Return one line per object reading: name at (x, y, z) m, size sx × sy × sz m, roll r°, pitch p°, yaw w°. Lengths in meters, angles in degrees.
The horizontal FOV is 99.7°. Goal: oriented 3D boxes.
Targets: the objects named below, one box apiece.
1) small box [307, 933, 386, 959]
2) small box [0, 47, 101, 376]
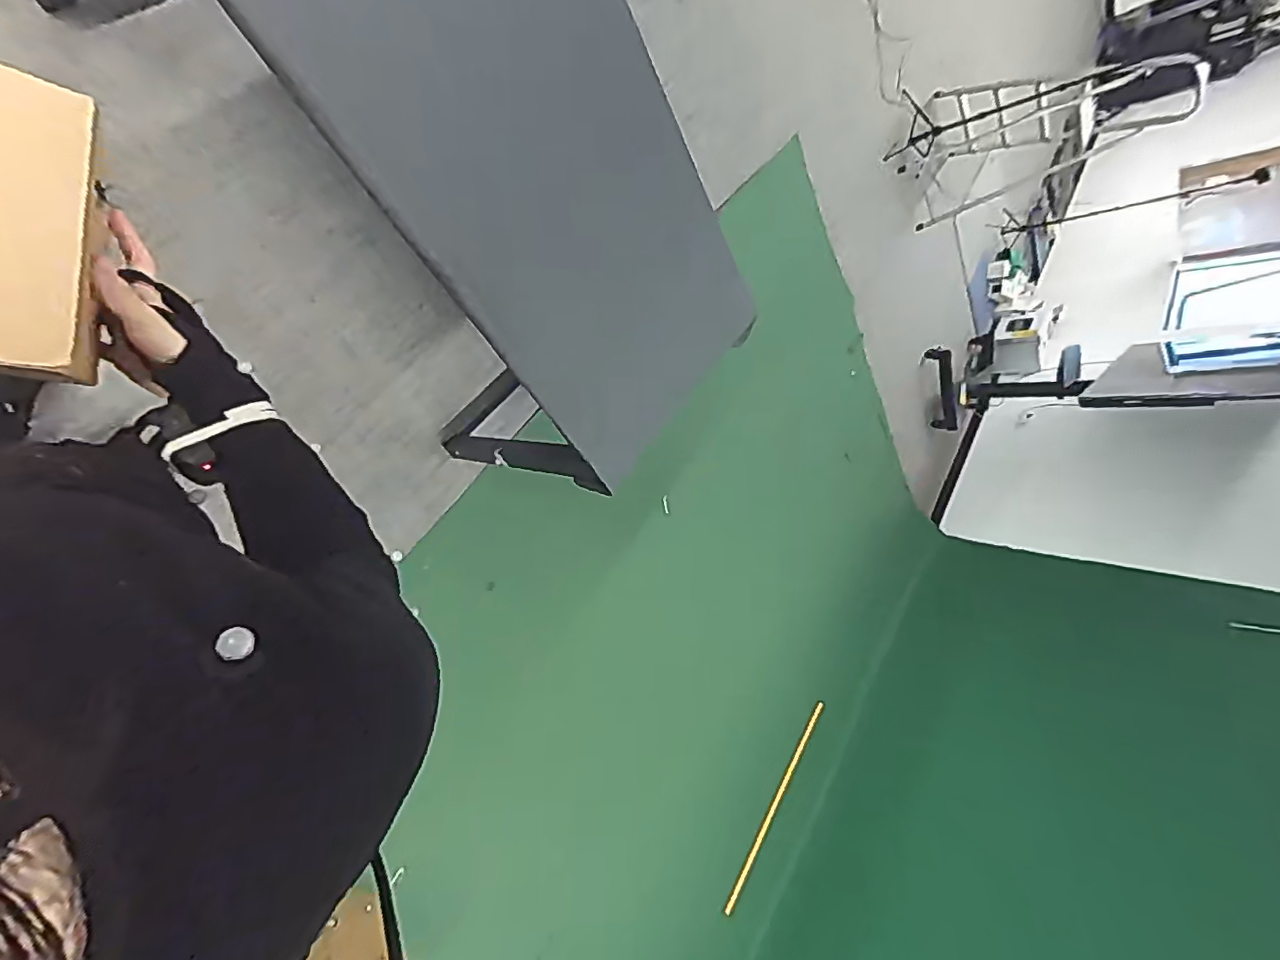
small box at (-0.711, 1.228, 1.285) m, size 0.168 × 0.176 × 0.179 m, roll -54°, pitch 130°, yaw -25°
small box at (-0.460, -0.171, 0.336) m, size 0.168 × 0.176 × 0.179 m, roll 6°, pitch 90°, yaw -43°
